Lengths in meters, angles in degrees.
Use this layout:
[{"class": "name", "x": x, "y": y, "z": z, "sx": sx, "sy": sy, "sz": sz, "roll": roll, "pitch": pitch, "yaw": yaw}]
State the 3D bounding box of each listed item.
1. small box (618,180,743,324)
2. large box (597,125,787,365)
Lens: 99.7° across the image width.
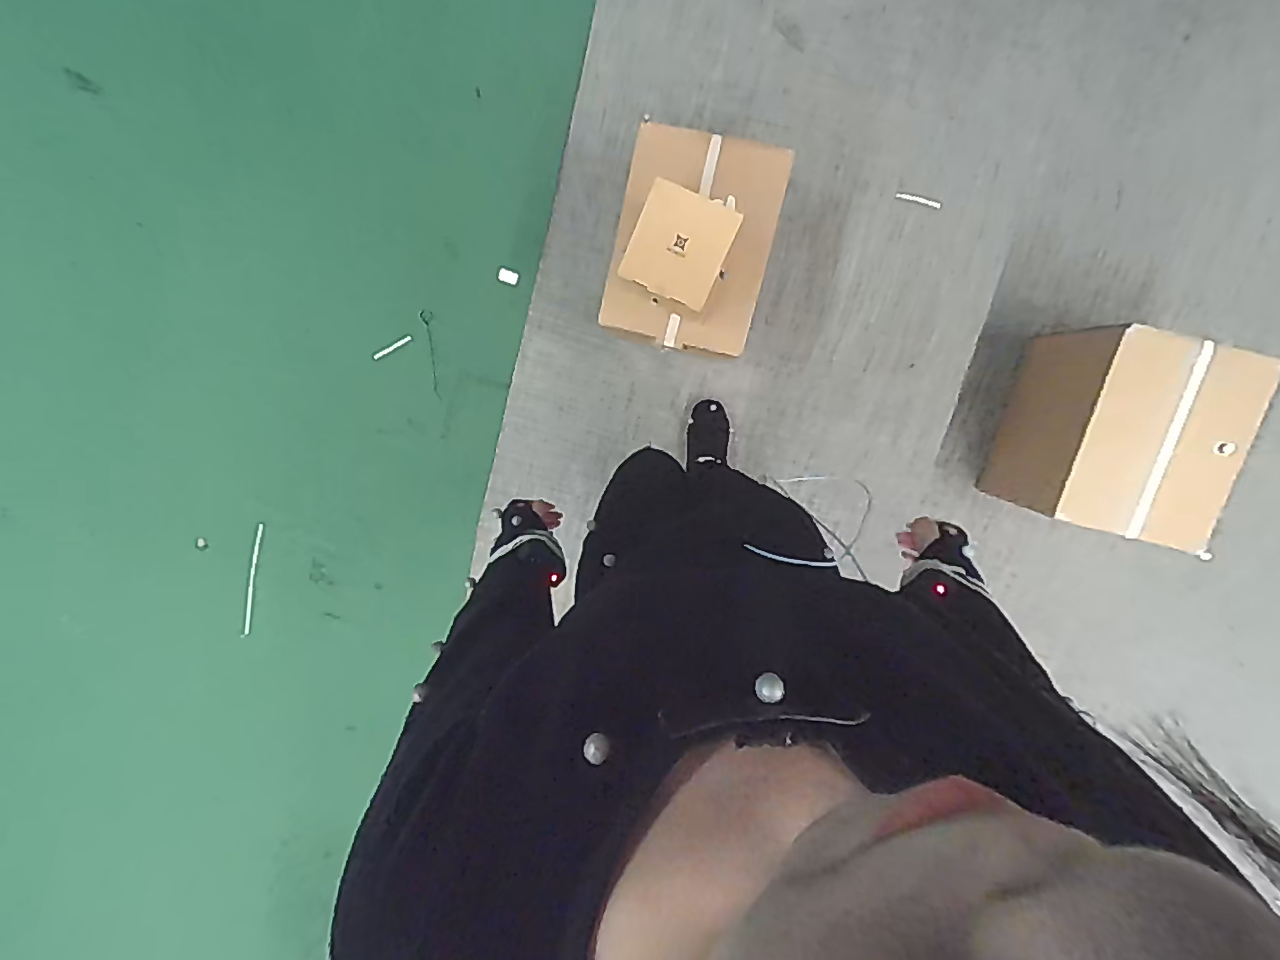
[{"class": "small box", "x": 0.073, "y": -0.412, "z": 1.008, "sx": 0.168, "sy": 0.176, "sz": 0.179, "roll": 25, "pitch": 101, "yaw": 1}, {"class": "large box", "x": 0.112, "y": -0.500, "z": 1.238, "sx": 0.320, "sy": 0.320, "sz": 0.408, "roll": 14, "pitch": 100, "yaw": 2}]
